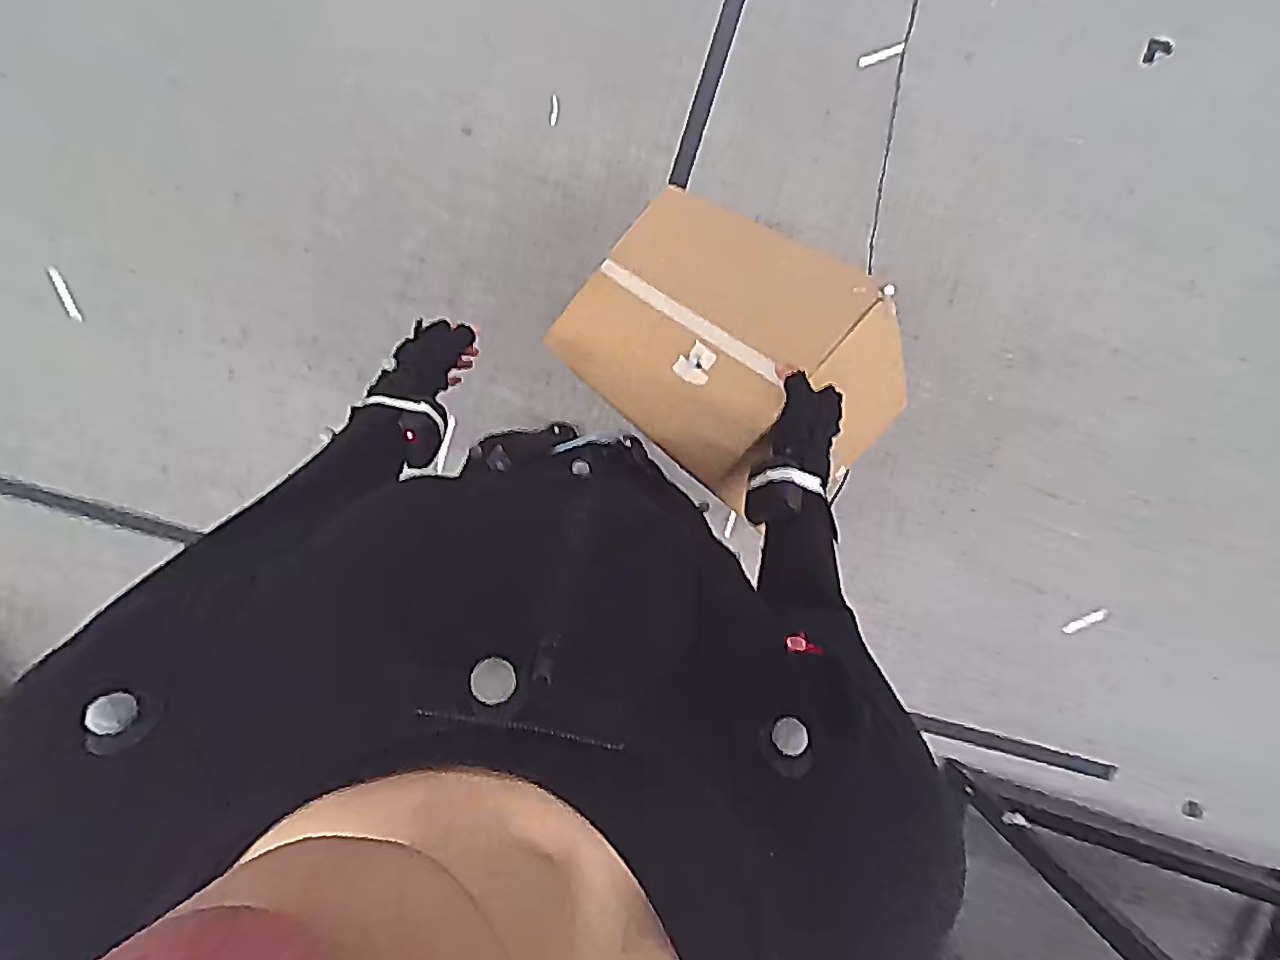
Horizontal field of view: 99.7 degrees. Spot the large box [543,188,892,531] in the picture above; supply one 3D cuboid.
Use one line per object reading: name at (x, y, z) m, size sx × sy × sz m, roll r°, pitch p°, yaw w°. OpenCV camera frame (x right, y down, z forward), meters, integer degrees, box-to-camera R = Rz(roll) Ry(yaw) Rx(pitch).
large box at (0.130, -0.181, 0.868) m, size 0.320 × 0.320 × 0.408 m, roll -50°, pitch 59°, yaw 6°
